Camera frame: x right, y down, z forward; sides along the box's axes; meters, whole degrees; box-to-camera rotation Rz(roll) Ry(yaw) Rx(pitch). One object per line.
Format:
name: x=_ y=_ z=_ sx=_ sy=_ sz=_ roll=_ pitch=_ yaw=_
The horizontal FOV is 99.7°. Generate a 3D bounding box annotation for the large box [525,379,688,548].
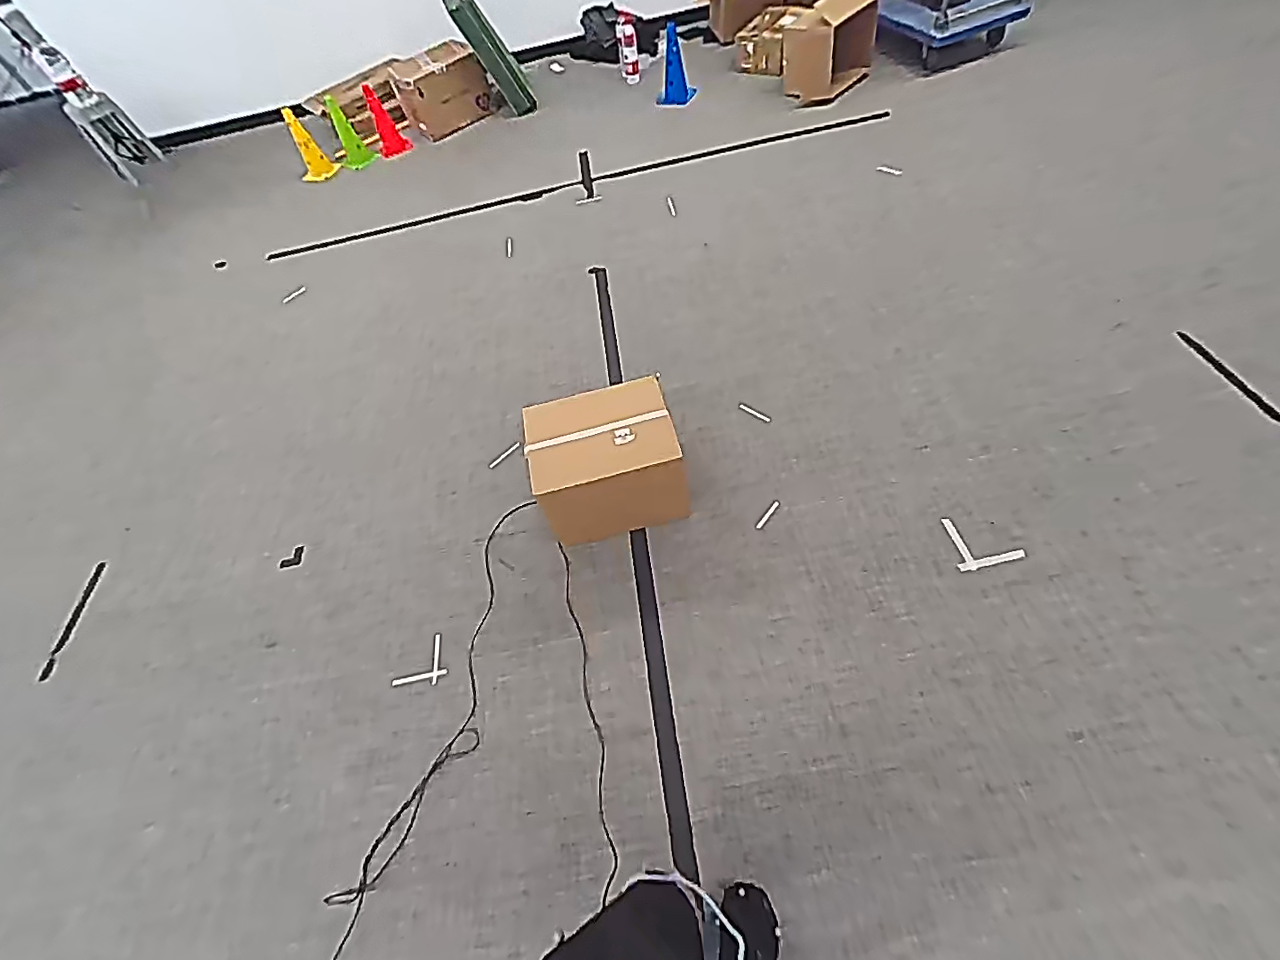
large box: x=-0.092 y=-0.041 z=1.602 sx=0.408 sy=0.320 sz=0.320 roll=-14 pitch=56 yaw=-1
